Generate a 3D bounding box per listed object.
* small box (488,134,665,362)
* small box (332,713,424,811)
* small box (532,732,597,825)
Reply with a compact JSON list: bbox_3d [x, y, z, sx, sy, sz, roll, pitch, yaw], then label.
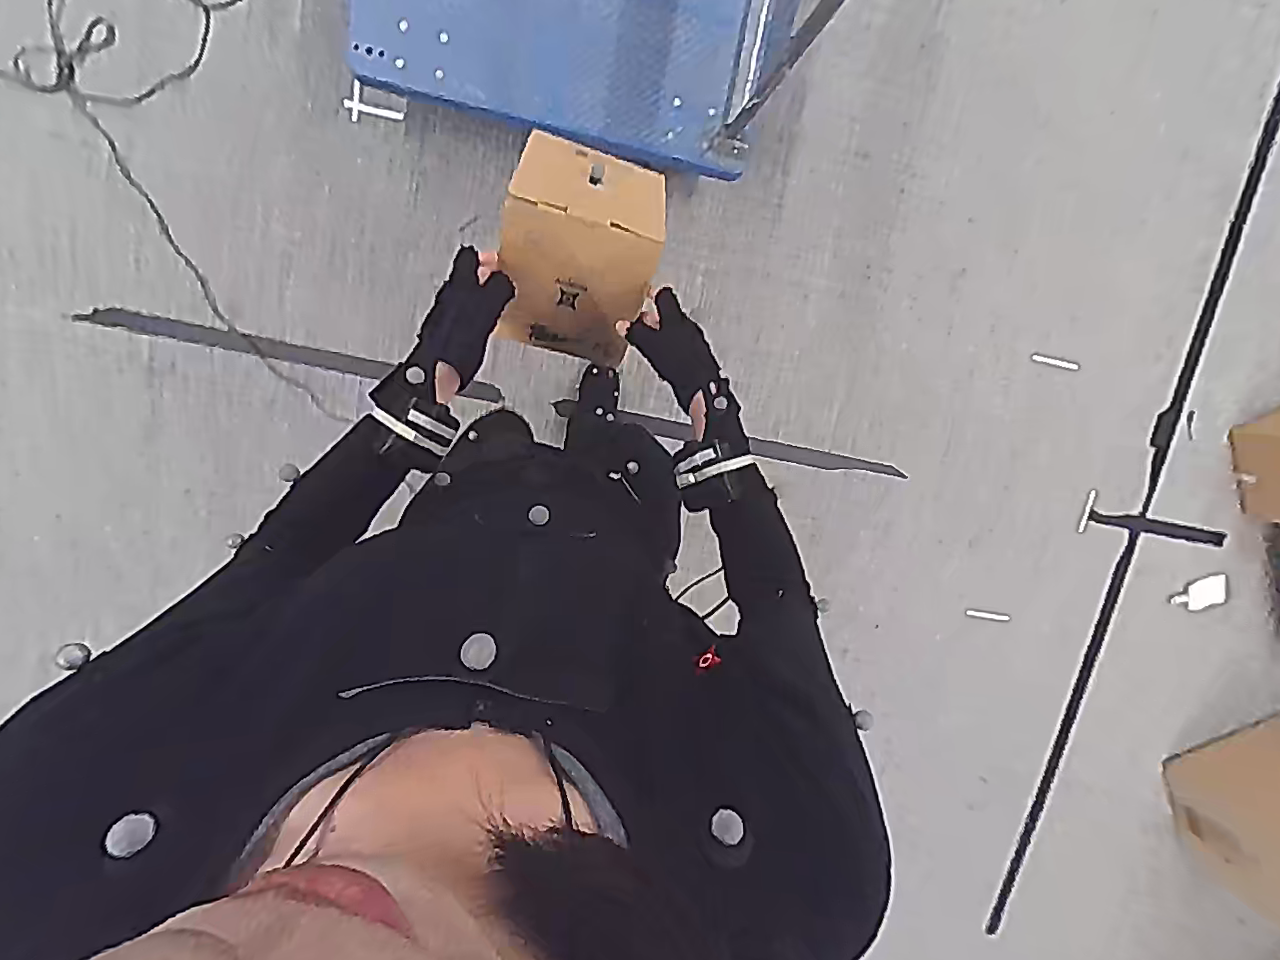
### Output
[{"bbox_3d":[-0.078,-0.278,0.652,0.168,0.176,0.179,12,139,-13],"label":"small box"},{"bbox_3d":[-0.721,0.779,1.513,0.179,0.176,0.168,-8,101,-5],"label":"small box"},{"bbox_3d":[-0.218,0.871,1.591,0.179,0.176,0.168,-3,102,-7],"label":"small box"}]
